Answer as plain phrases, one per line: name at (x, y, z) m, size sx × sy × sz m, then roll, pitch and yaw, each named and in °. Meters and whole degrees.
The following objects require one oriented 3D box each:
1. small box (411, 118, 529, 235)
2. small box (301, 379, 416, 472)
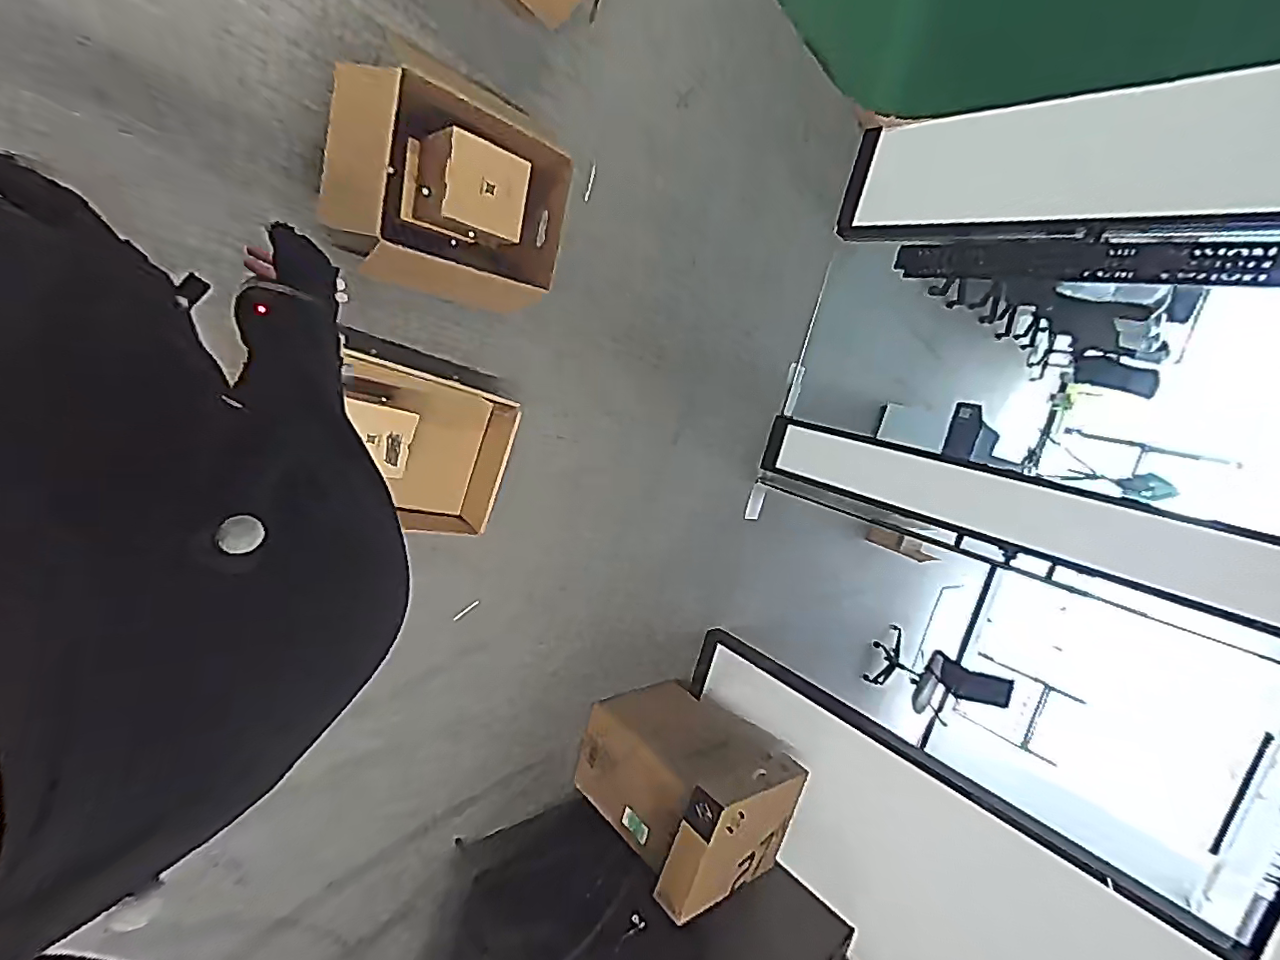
small box at (-0.368, -0.633, 1.156) m, size 0.179 × 0.176 × 0.168 m, roll 2°, pitch 107°, yaw -44°
small box at (-0.667, -0.130, 1.277) m, size 0.179 × 0.176 × 0.168 m, roll 11°, pitch 100°, yaw -48°
